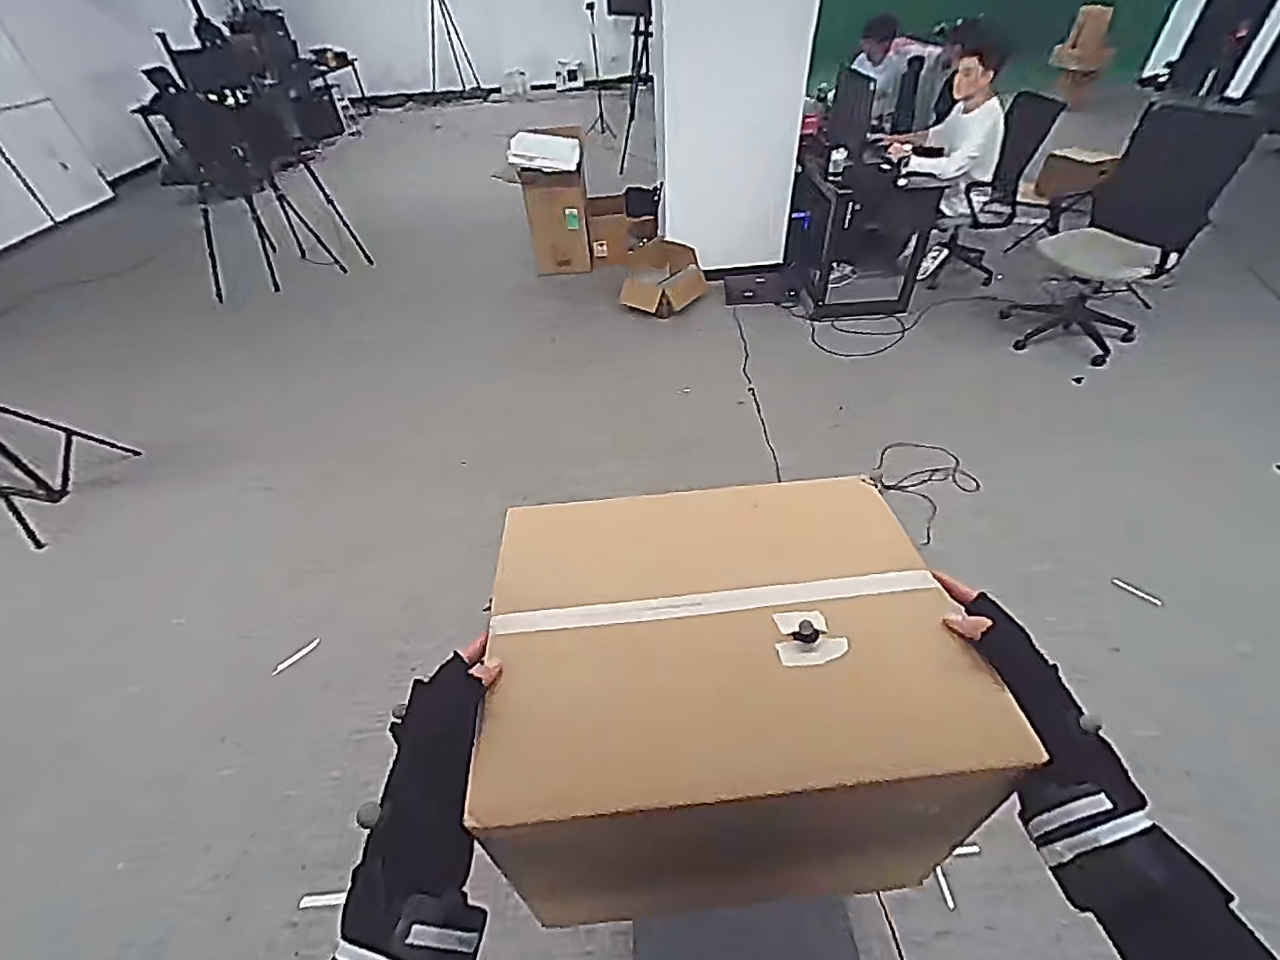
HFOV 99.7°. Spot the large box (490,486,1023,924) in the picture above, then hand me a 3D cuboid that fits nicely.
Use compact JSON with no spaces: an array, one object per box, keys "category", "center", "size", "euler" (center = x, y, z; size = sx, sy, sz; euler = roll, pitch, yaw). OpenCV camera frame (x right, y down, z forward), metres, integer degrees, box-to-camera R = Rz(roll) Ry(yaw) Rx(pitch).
[{"category":"large box","center":[0.081,0.237,0.596],"size":[0.408,0.320,0.320],"euler":[-5,40,-2]}]
